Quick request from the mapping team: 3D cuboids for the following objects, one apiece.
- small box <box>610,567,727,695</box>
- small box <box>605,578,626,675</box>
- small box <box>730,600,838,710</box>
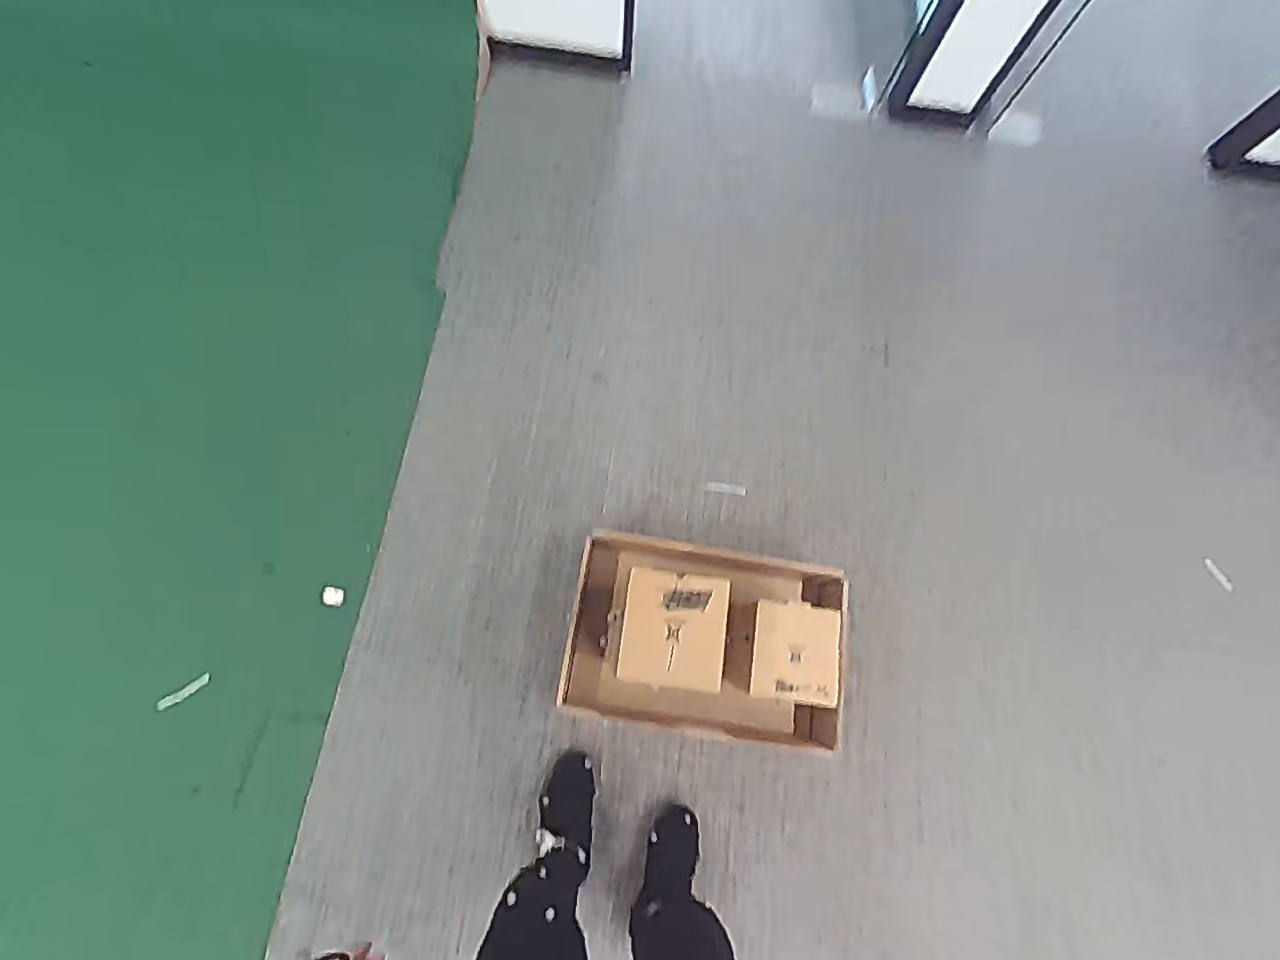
[{"bbox_3d":[0.042,0.257,0.925,0.168,0.176,0.179,9,74,-2],"label":"small box"},{"bbox_3d":[0.024,0.302,1.082,0.168,0.176,0.179,9,73,-3],"label":"small box"},{"bbox_3d":[0.284,0.349,1.088,0.168,0.176,0.179,9,73,0],"label":"small box"}]
